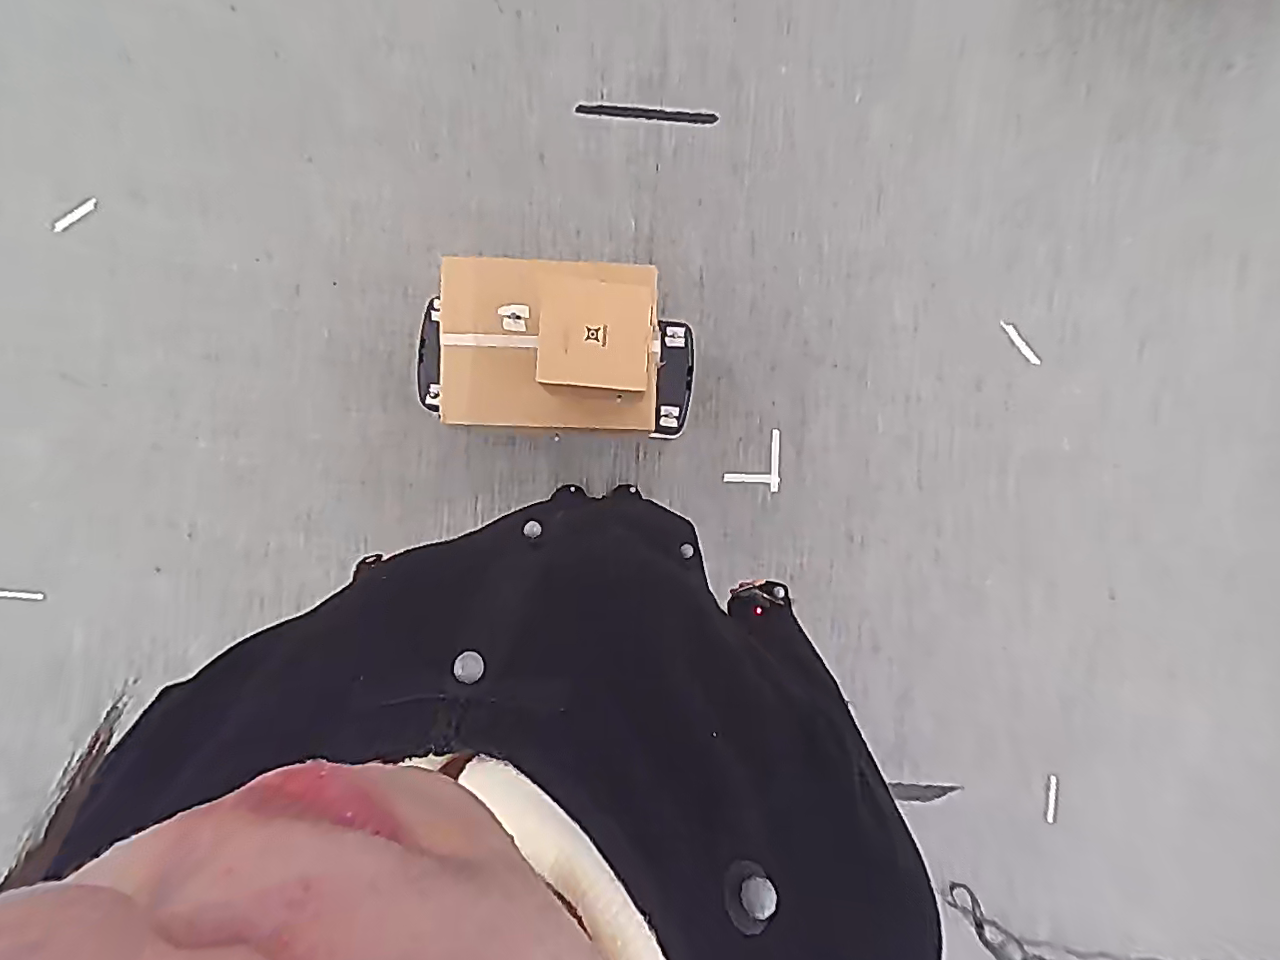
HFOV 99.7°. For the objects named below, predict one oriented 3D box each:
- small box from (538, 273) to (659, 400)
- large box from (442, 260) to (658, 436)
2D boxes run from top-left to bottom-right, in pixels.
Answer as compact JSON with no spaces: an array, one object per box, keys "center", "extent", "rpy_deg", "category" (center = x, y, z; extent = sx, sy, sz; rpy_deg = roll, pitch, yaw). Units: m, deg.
[{"center":[-0.067,-0.230,0.911],"extent":[0.179,0.176,0.168],"rpy_deg":[5,91,-2],"category":"small box"},{"center":[-0.169,-0.254,1.151],"extent":[0.408,0.320,0.320],"rpy_deg":[1,90,-2],"category":"large box"}]
